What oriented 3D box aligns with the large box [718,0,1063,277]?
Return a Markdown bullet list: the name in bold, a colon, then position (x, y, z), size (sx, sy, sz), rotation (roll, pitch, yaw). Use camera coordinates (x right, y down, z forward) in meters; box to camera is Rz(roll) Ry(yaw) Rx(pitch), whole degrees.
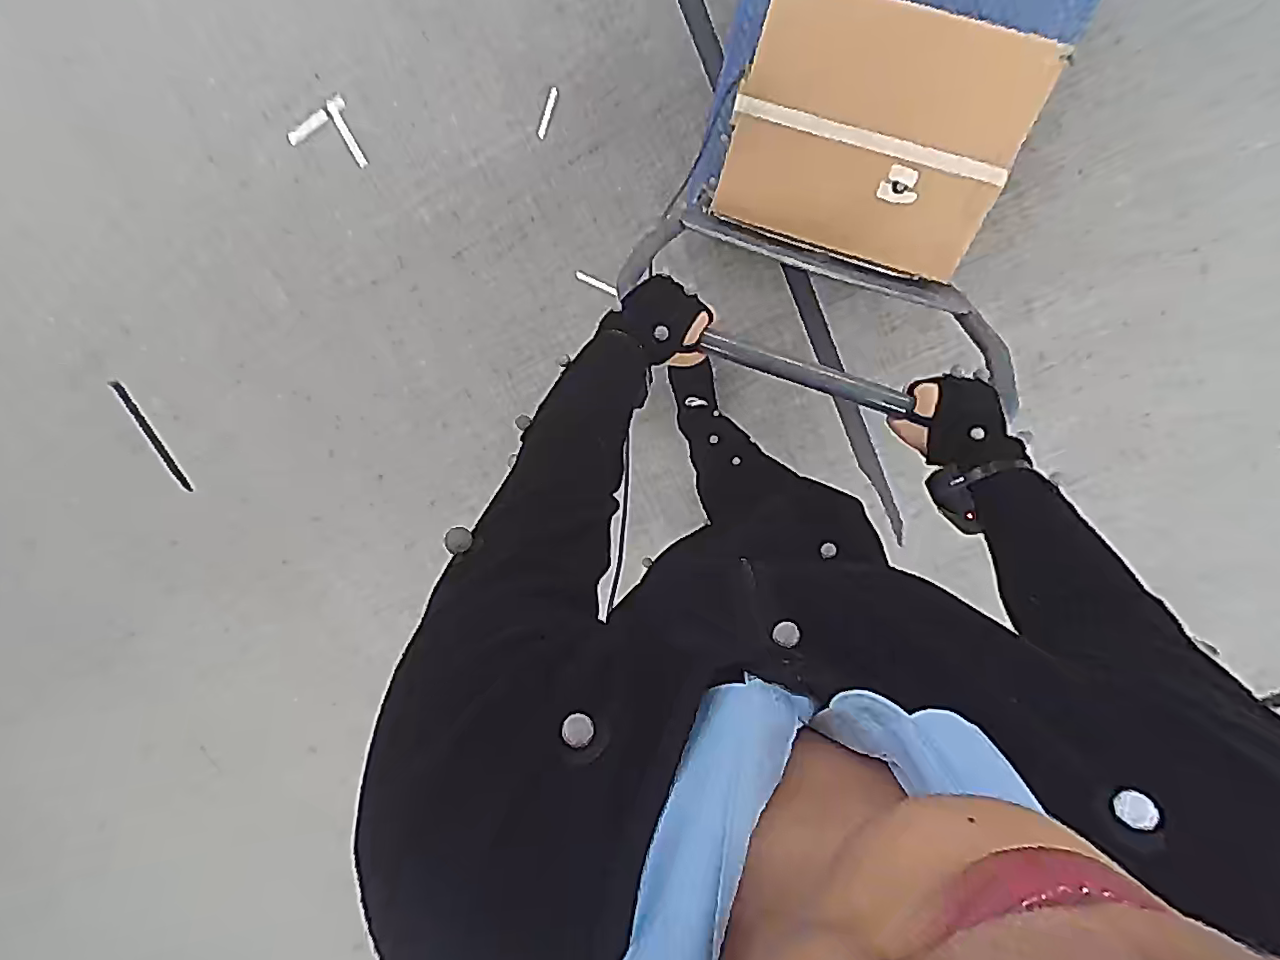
- **large box**: position (0.384, -0.588, 0.948), size (0.408, 0.320, 0.320), rotation (19, 123, 4)
